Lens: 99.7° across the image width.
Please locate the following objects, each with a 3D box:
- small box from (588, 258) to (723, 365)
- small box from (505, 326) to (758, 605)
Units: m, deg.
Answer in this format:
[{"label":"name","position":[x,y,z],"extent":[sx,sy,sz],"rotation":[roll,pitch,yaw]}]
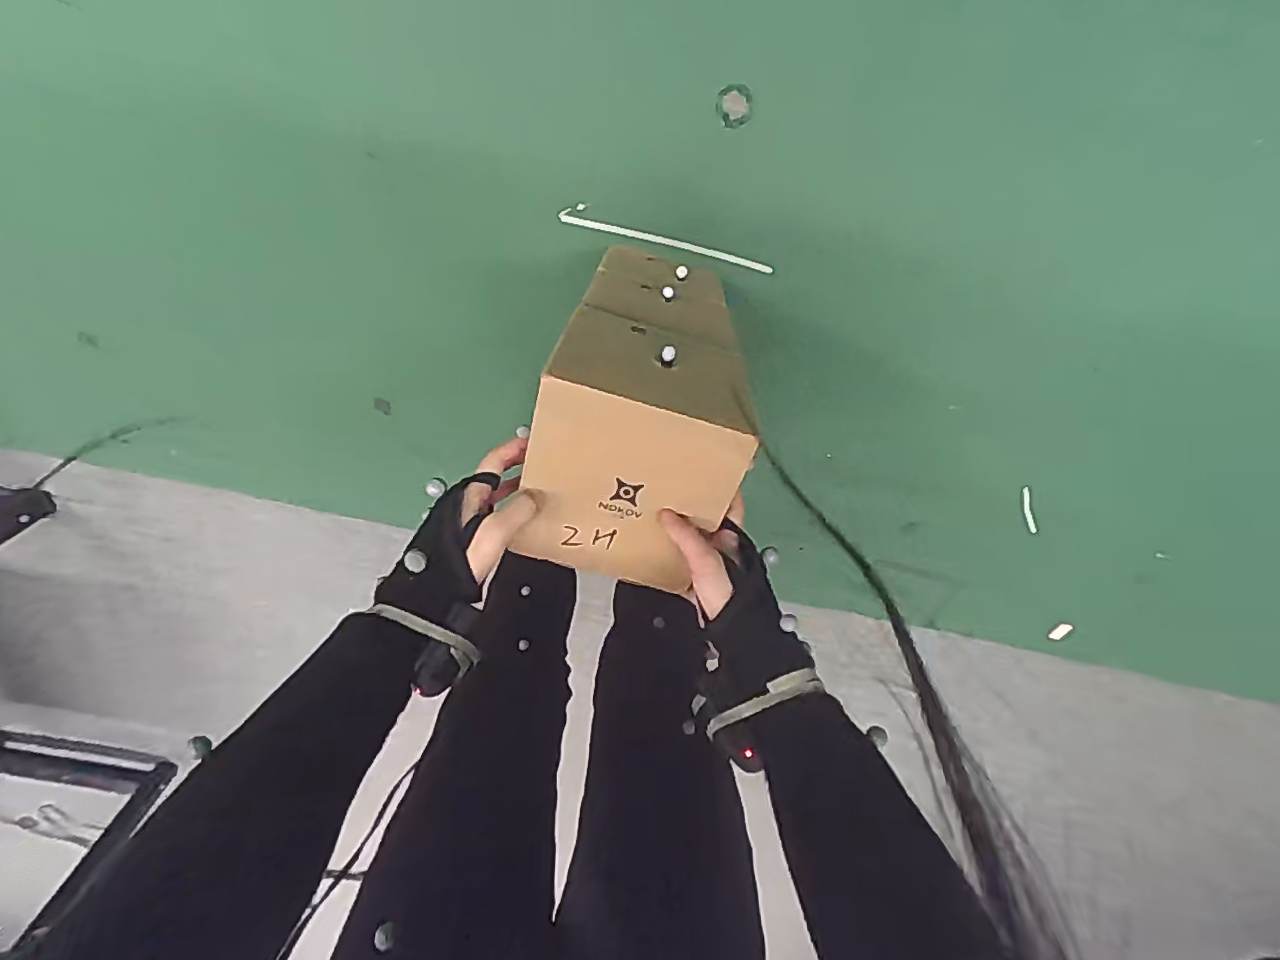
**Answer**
[{"label":"small box","position":[0.007,-0.199,0.776],"extent":[0.168,0.176,0.179],"rotation":[15,124,-6]},{"label":"small box","position":[-0.011,-0.020,0.500],"extent":[0.168,0.176,0.179],"rotation":[16,123,-7]}]
